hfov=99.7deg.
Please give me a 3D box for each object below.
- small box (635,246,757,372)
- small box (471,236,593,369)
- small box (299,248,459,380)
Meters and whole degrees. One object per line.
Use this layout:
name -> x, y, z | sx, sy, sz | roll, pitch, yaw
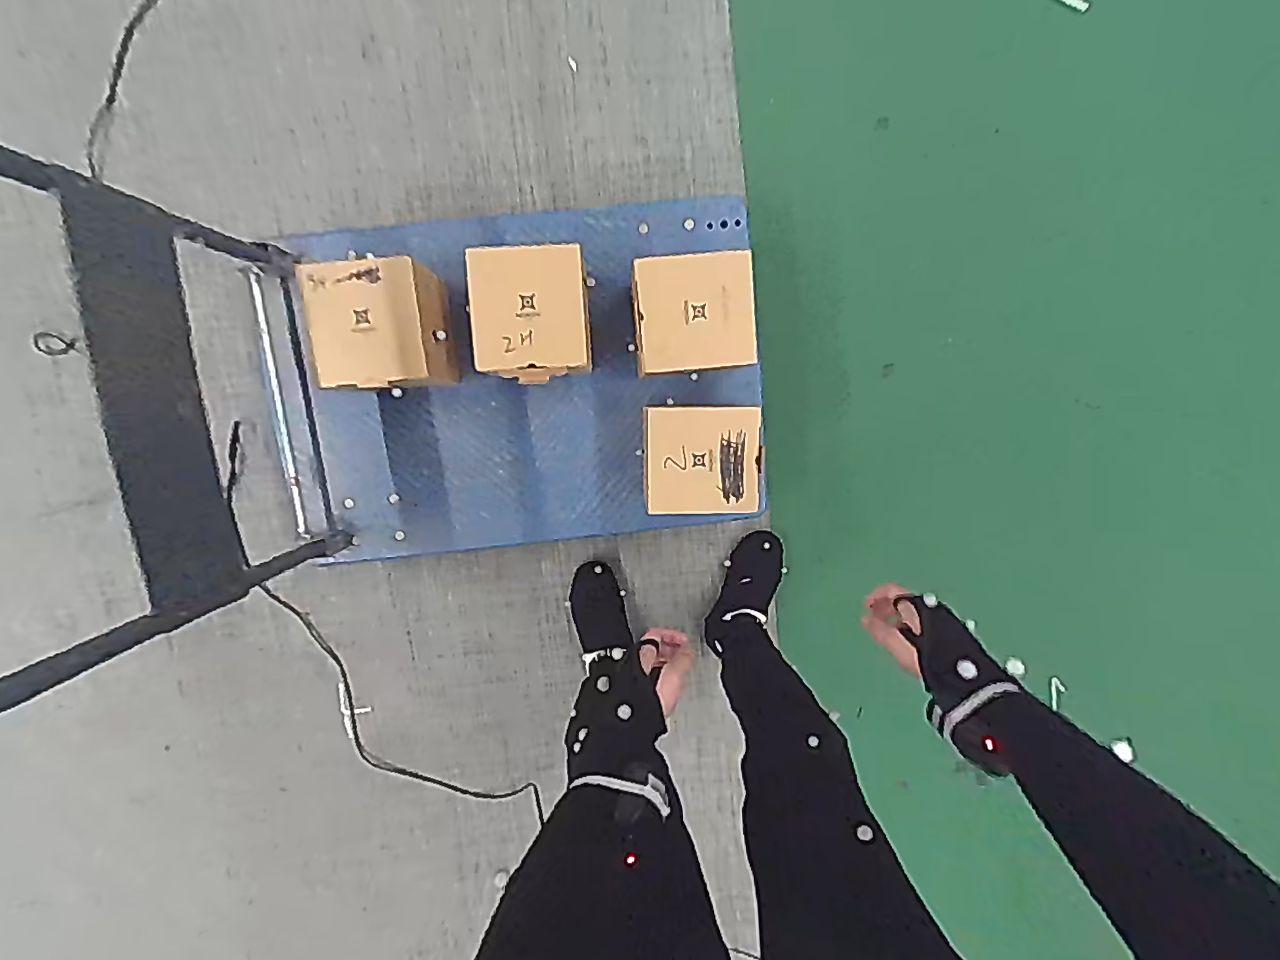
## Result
small box -> 0.083, -0.267, 0.877 | 0.179, 0.176, 0.168 | -4, 99, -2
small box -> -0.162, -0.273, 0.865 | 0.168, 0.176, 0.179 | -2, 99, -2
small box -> -0.398, -0.252, 0.857 | 0.168, 0.176, 0.179 | -5, 99, -2
